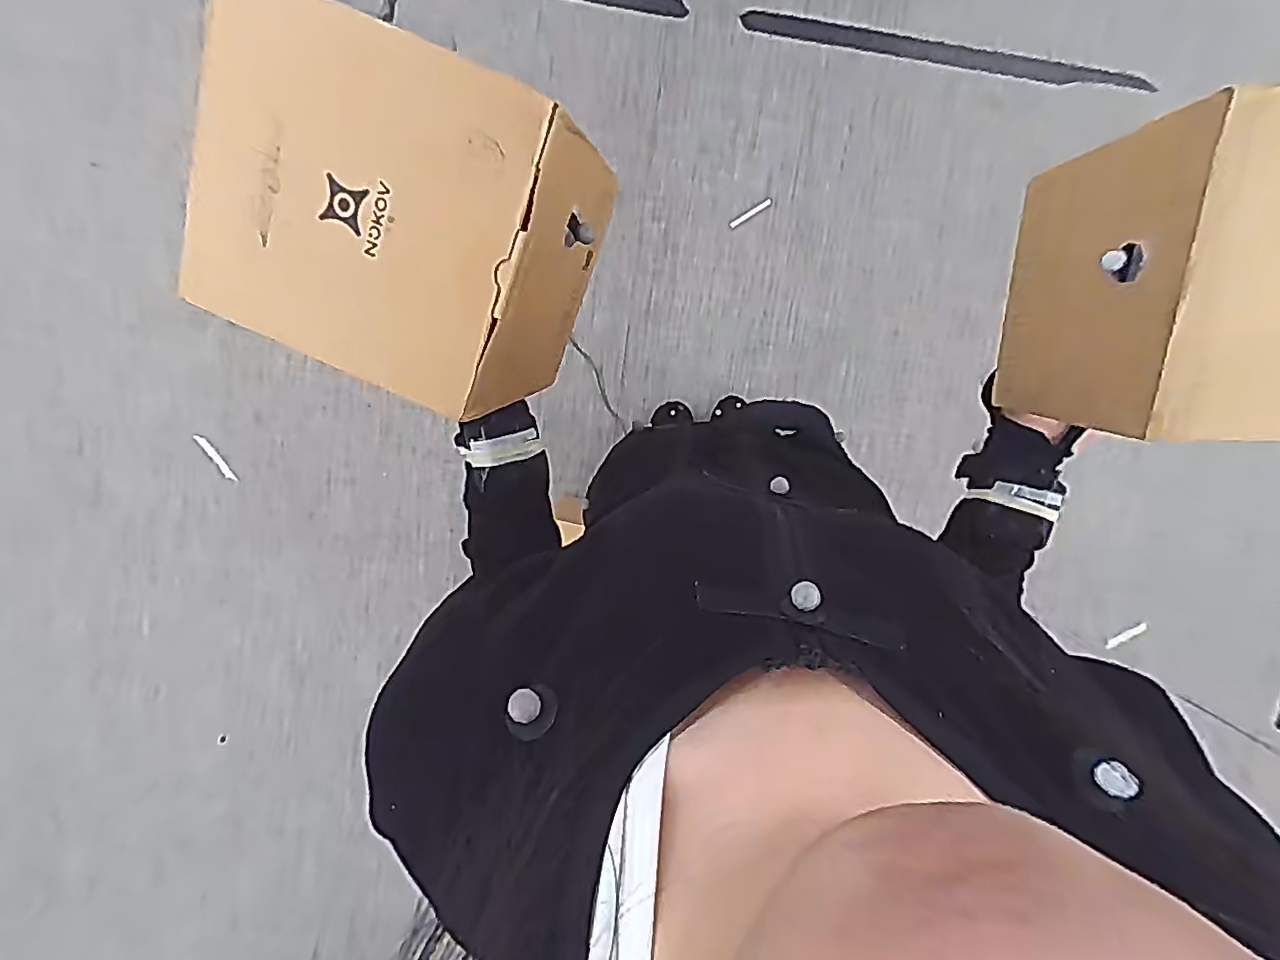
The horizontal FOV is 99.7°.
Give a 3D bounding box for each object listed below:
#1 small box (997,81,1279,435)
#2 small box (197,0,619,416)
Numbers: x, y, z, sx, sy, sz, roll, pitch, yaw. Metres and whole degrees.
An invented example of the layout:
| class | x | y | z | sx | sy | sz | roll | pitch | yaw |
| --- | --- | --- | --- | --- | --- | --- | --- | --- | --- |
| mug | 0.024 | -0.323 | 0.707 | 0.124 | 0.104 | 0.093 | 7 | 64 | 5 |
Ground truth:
| class | x | y | z | sx | sy | sz | roll | pitch | yaw |
| --- | --- | --- | --- | --- | --- | --- | --- | --- | --- |
| small box | 0.373 | -0.128 | 0.356 | 0.168 | 0.176 | 0.179 | 2 | 105 | 5 |
| small box | -0.128 | -0.161 | 0.351 | 0.179 | 0.176 | 0.168 | 23 | 108 | 1 |
